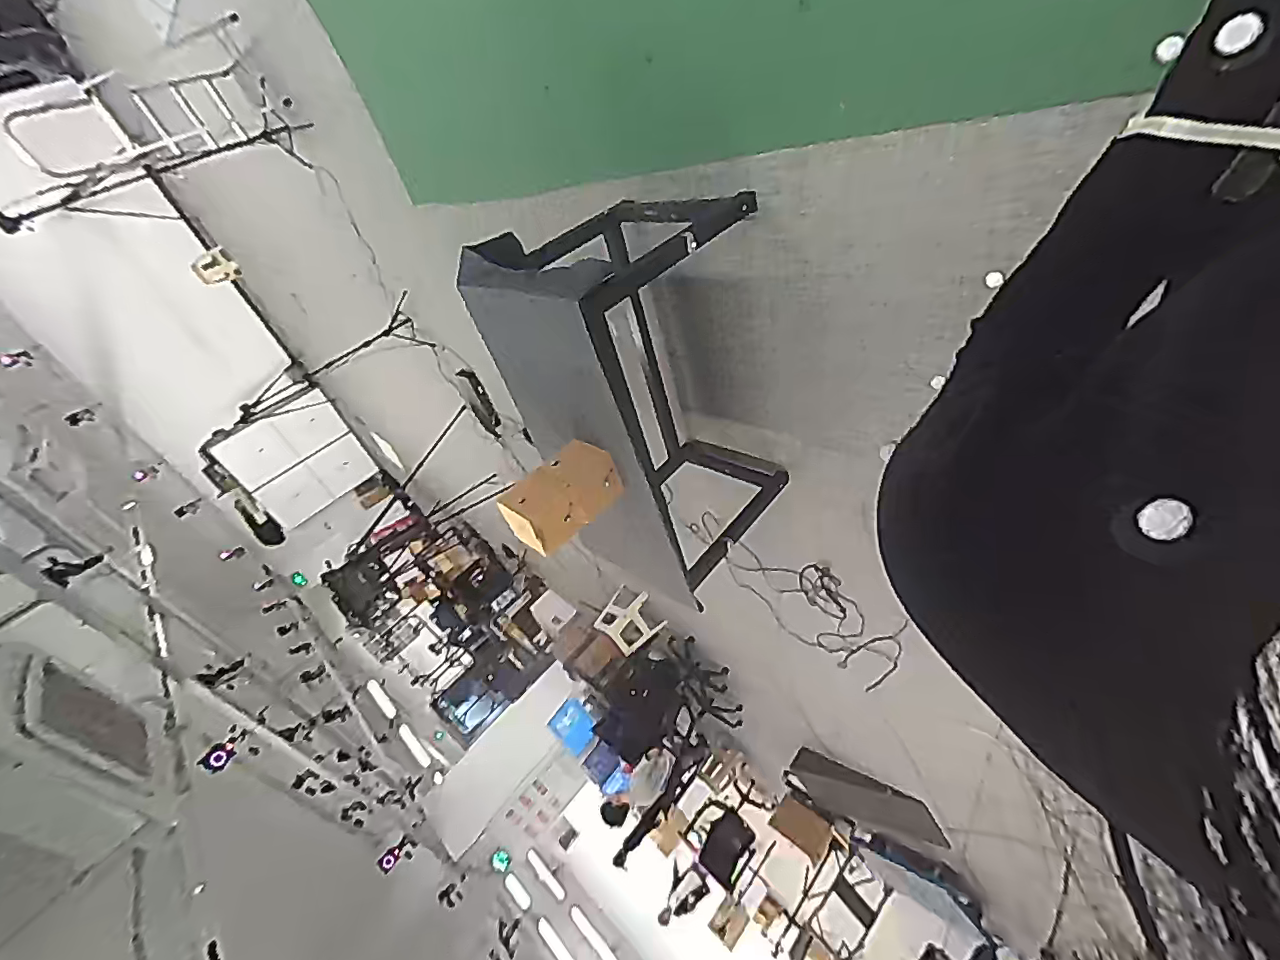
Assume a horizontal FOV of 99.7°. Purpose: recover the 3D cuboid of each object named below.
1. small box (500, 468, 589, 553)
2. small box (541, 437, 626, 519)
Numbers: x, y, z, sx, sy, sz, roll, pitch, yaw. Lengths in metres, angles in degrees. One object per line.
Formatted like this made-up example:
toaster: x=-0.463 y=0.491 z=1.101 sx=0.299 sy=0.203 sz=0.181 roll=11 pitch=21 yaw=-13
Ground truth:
small box: x=-0.285 y=0.086 z=1.639 sx=0.179 sy=0.176 sz=0.168 roll=22 pitch=145 yaw=41
small box: x=-0.174 y=-0.013 z=1.704 sx=0.179 sy=0.176 sz=0.168 roll=23 pitch=146 yaw=41
